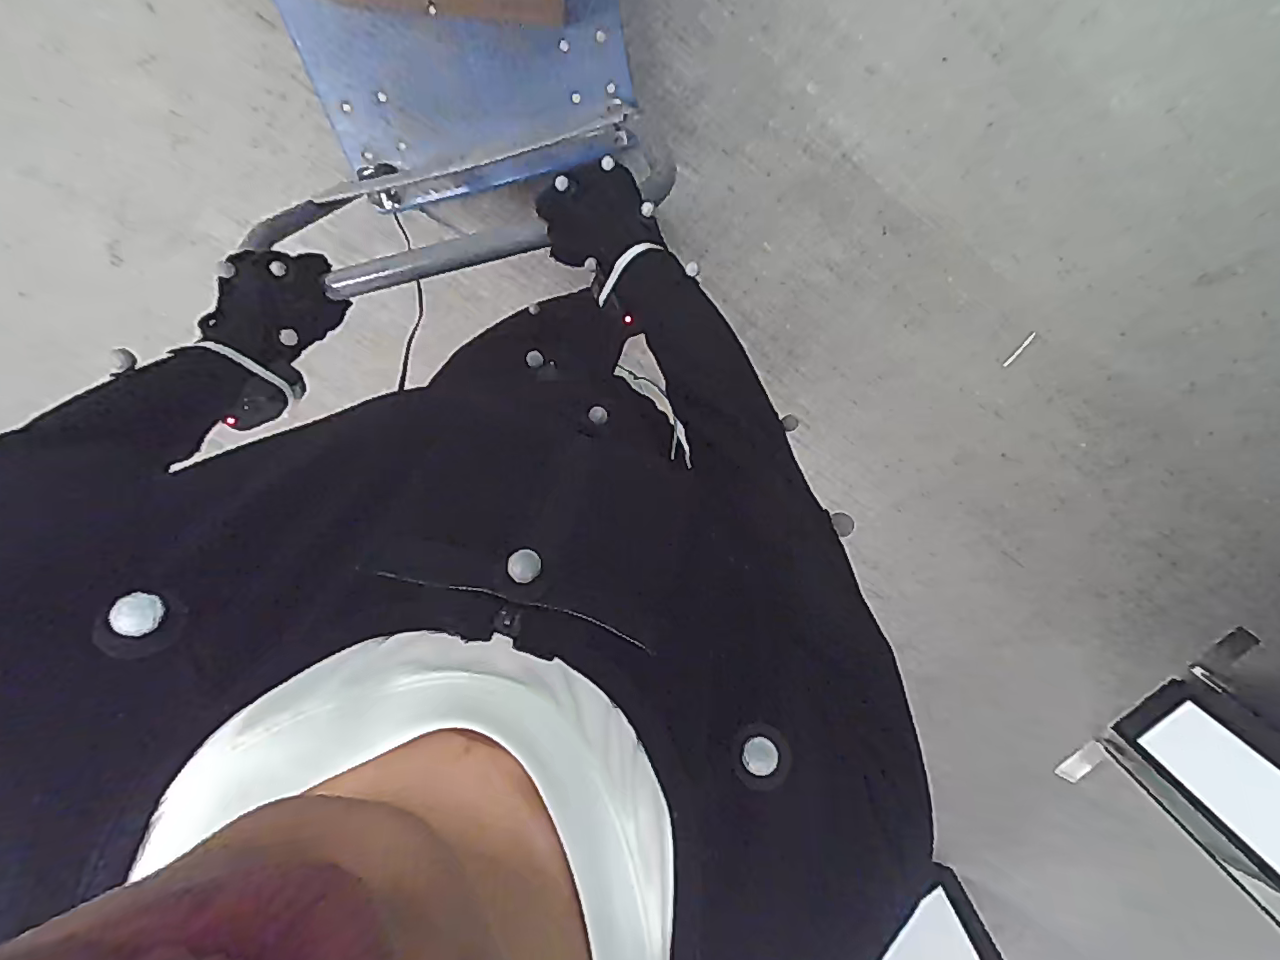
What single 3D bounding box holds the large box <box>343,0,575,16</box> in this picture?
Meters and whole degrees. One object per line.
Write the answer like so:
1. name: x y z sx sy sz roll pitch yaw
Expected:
1. large box: -0.300 -0.869 0.746 0.408 0.320 0.320 1 123 -5
